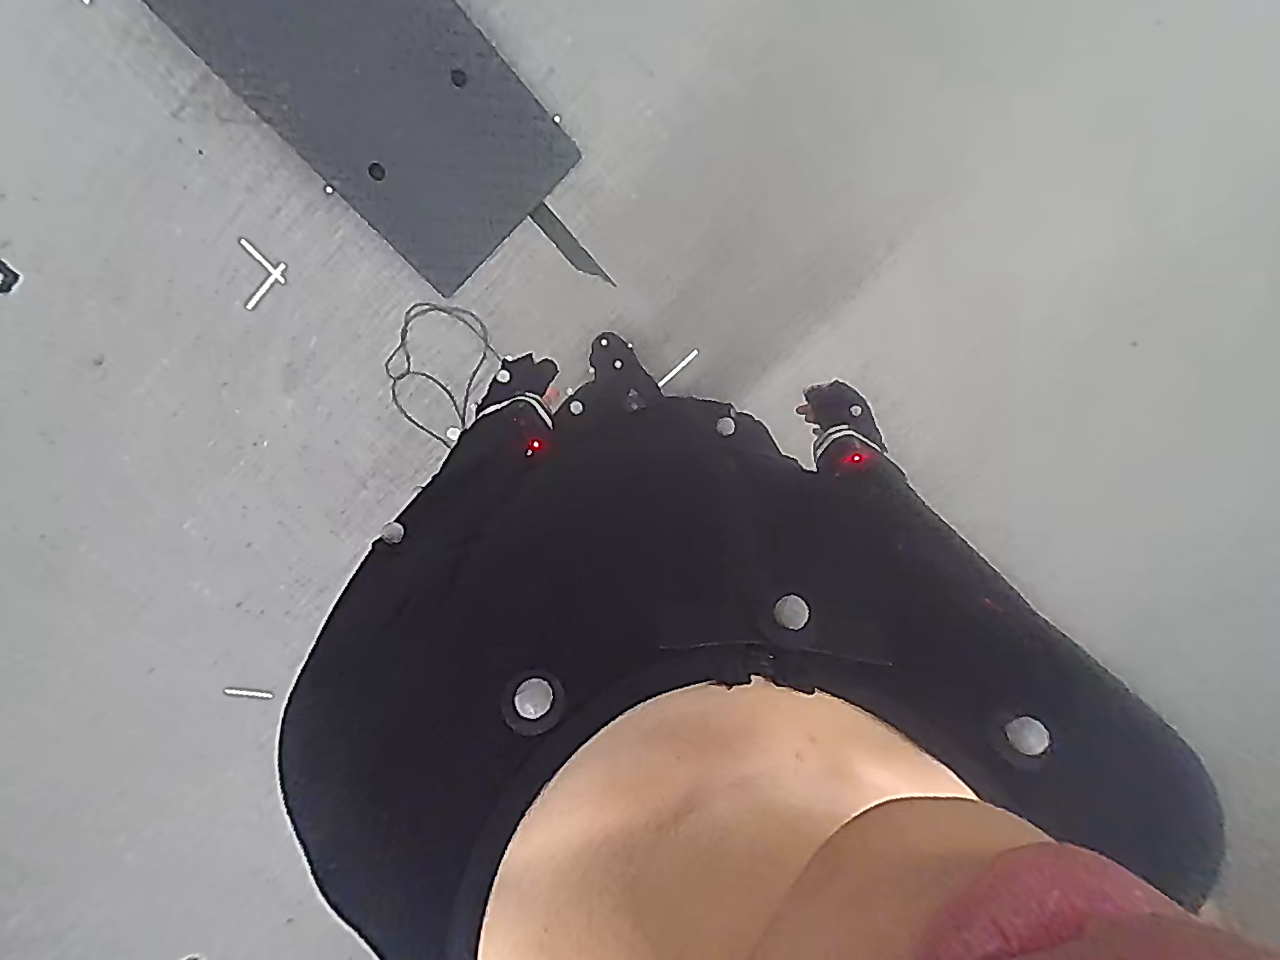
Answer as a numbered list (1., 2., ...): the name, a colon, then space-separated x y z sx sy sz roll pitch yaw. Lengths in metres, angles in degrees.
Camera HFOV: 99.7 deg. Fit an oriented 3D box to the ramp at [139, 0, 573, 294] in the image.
1. ramp: -0.659 -0.961 1.183 0.509 0.206 0.991 -44 99 8
